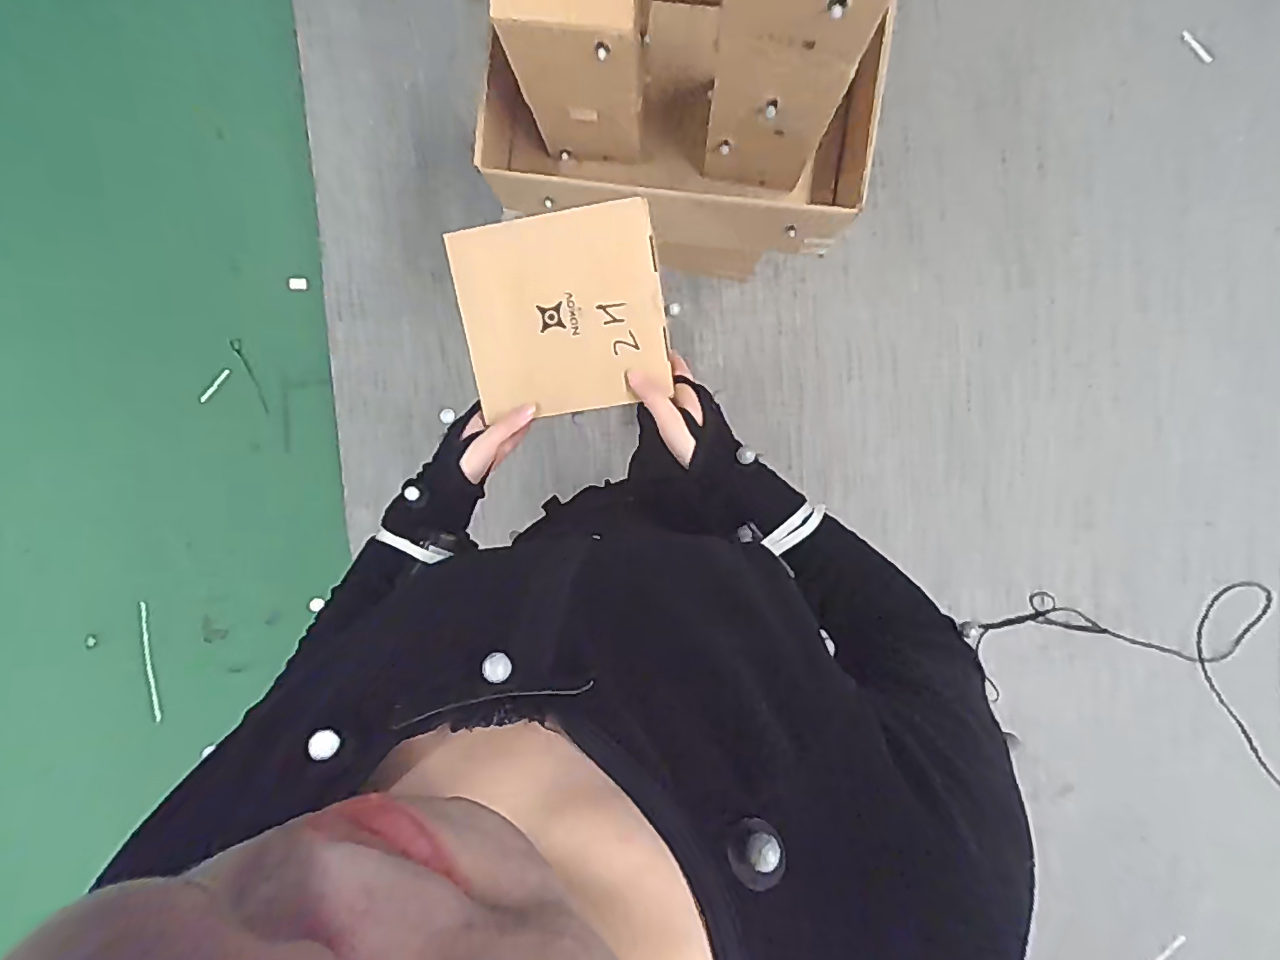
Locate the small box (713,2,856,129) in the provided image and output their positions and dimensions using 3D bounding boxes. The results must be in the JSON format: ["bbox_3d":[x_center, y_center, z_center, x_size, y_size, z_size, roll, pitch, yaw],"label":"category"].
[{"bbox_3d":[0.196,-0.599,0.705,0.168,0.176,0.179,14,96,2],"label":"small box"}]

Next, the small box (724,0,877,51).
[{"bbox_3d":[0.185,-0.586,0.542,0.168,0.176,0.179,15,95,2],"label":"small box"}]

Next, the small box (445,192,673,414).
[{"bbox_3d":[-0.064,-0.166,0.545,0.179,0.176,0.168,-7,104,6],"label":"small box"}]

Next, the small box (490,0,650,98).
[{"bbox_3d":[-0.083,-0.646,0.720,0.179,0.176,0.168,6,95,2],"label":"small box"}]
